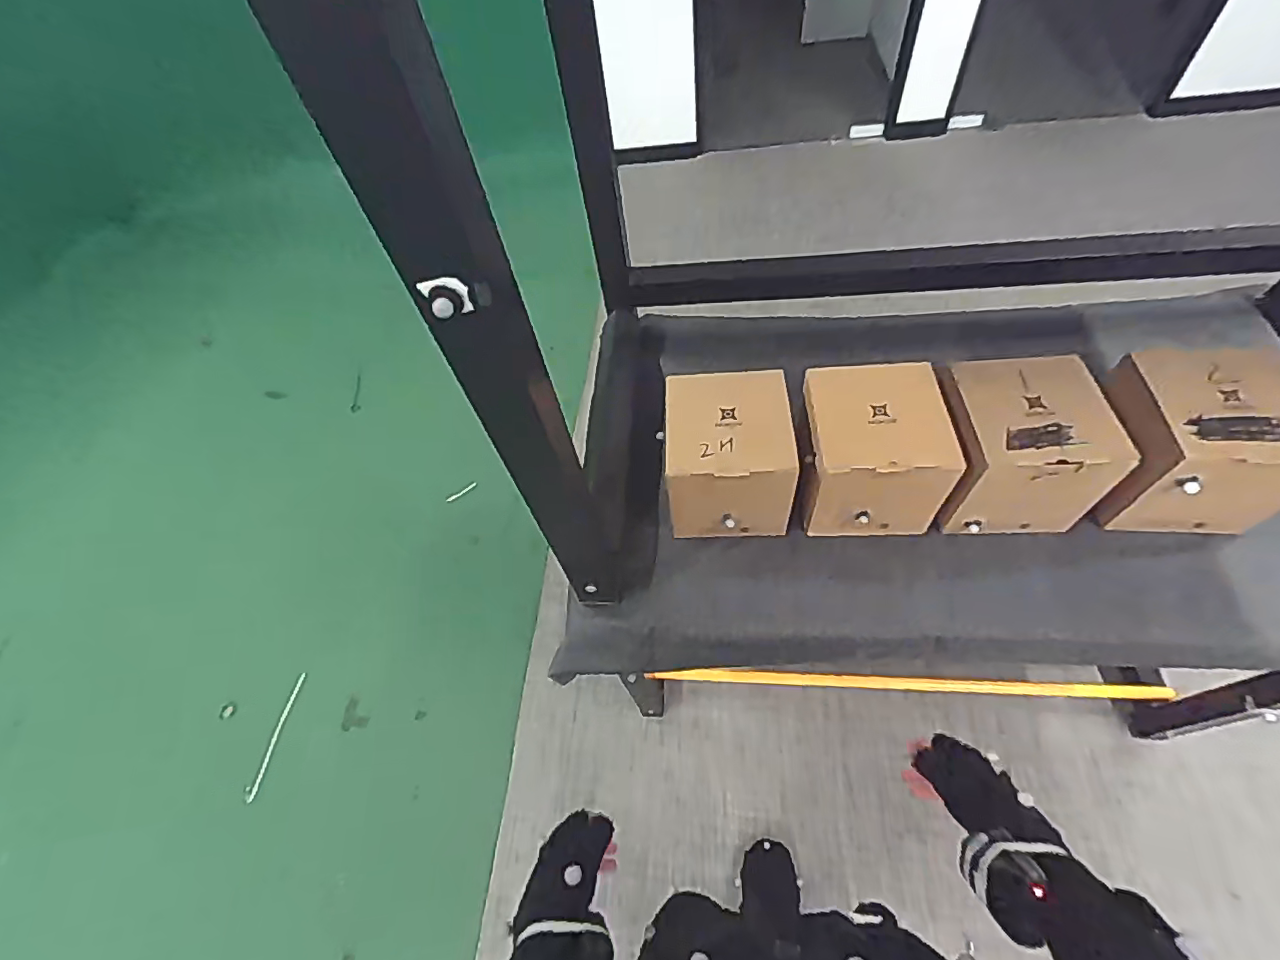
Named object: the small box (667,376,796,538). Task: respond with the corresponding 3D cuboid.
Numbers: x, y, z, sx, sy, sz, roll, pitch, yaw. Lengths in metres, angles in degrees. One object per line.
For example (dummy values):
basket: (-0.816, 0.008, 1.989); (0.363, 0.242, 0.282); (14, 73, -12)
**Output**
small box: (0.129, -0.030, 0.798); (0.168, 0.176, 0.179); (-2, 55, 7)
